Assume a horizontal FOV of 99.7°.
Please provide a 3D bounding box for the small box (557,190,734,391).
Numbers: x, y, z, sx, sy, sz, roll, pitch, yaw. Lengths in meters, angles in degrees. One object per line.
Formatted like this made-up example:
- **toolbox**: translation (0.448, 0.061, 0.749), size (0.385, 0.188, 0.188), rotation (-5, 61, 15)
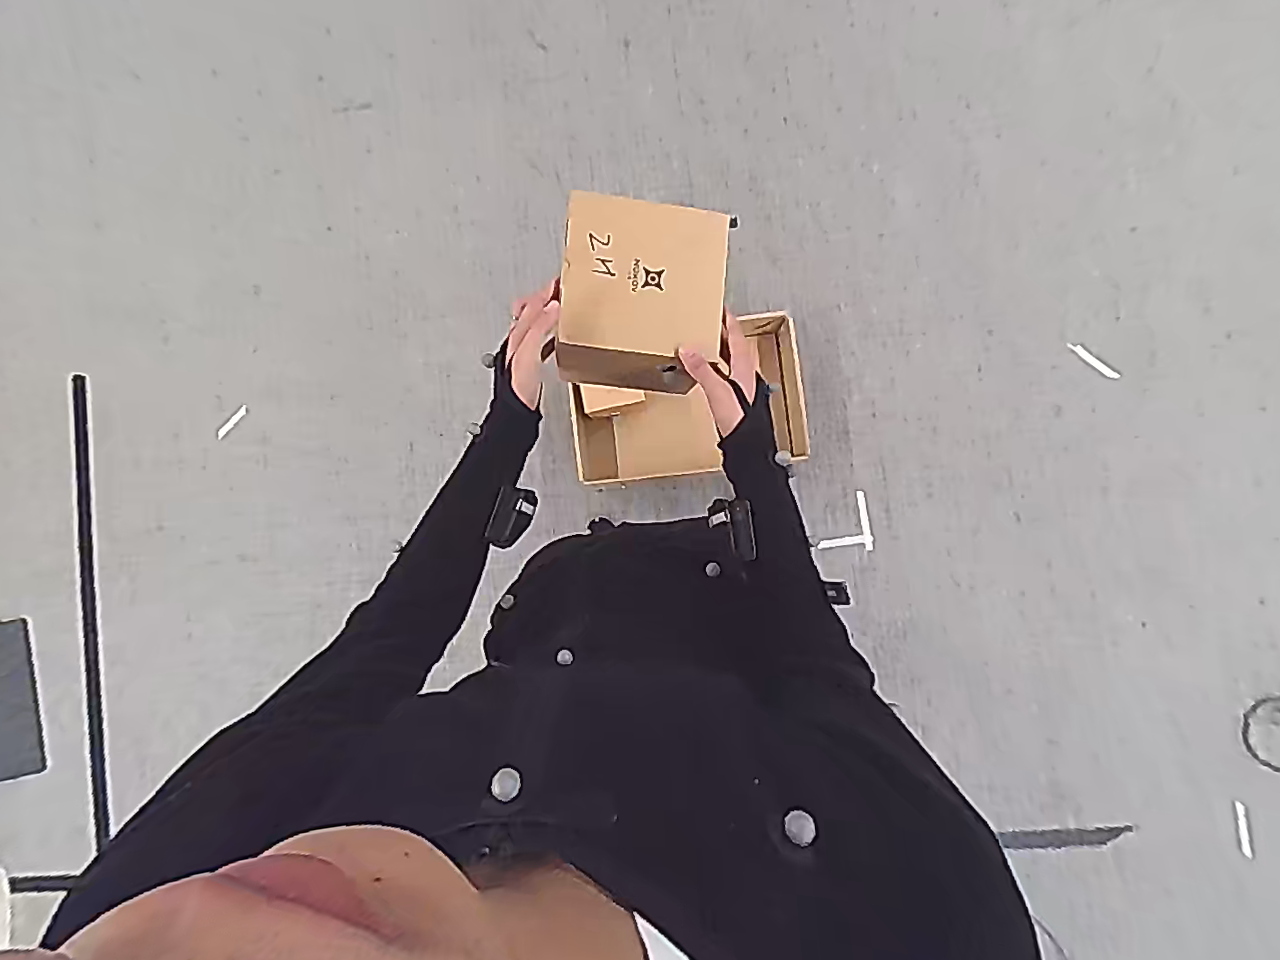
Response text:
- **small box**: translation (-0.002, -0.207, 0.642), size (0.179, 0.176, 0.168), rotation (5, 87, -7)
